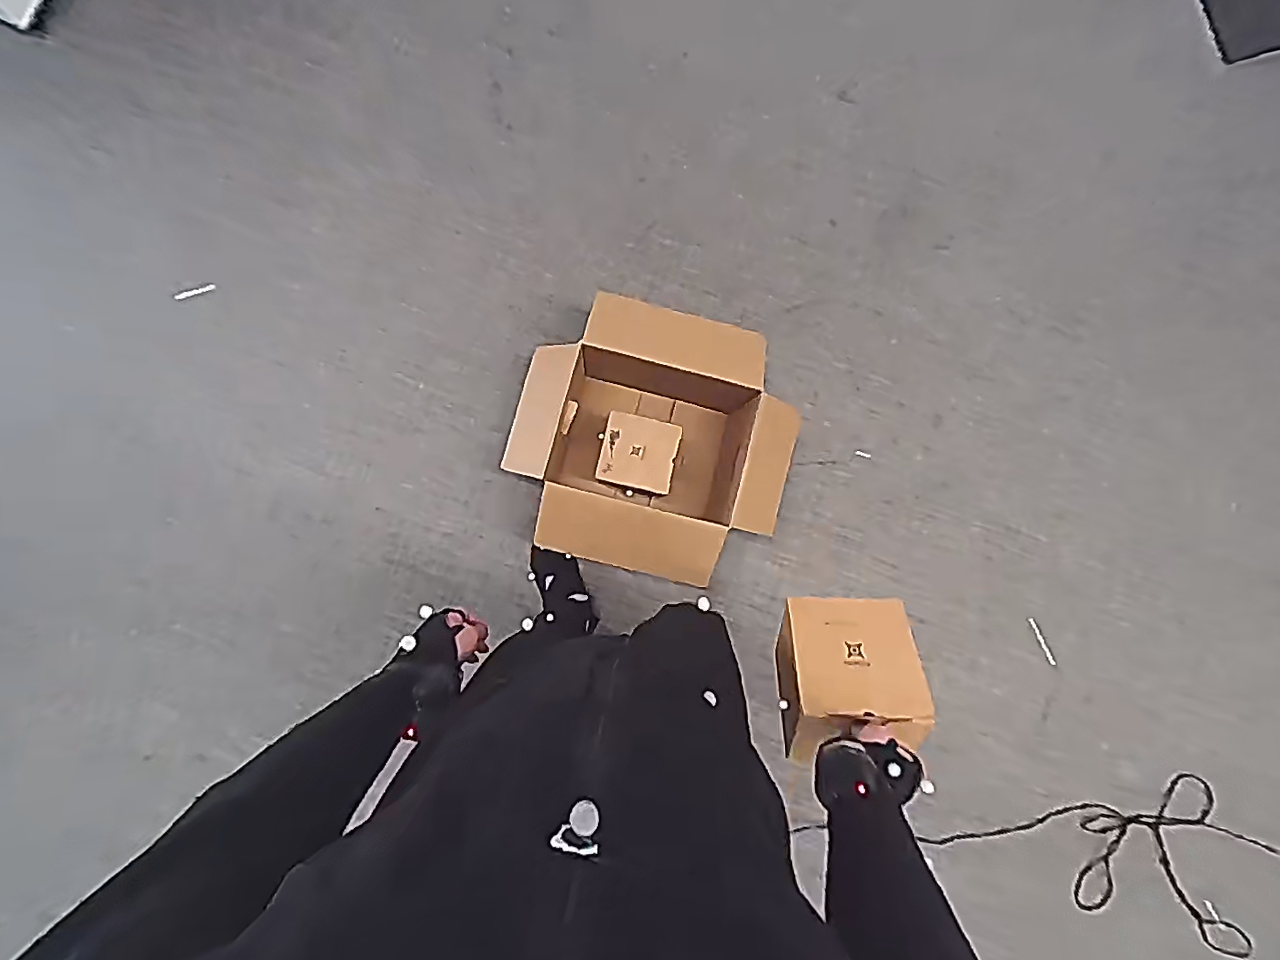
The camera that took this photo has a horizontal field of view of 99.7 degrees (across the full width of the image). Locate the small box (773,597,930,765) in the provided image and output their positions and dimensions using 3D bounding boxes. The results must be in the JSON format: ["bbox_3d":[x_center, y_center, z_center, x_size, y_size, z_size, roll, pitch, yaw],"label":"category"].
[{"bbox_3d":[0.291,0.293,0.786,0.168,0.176,0.179,1,43,6],"label":"small box"}]
